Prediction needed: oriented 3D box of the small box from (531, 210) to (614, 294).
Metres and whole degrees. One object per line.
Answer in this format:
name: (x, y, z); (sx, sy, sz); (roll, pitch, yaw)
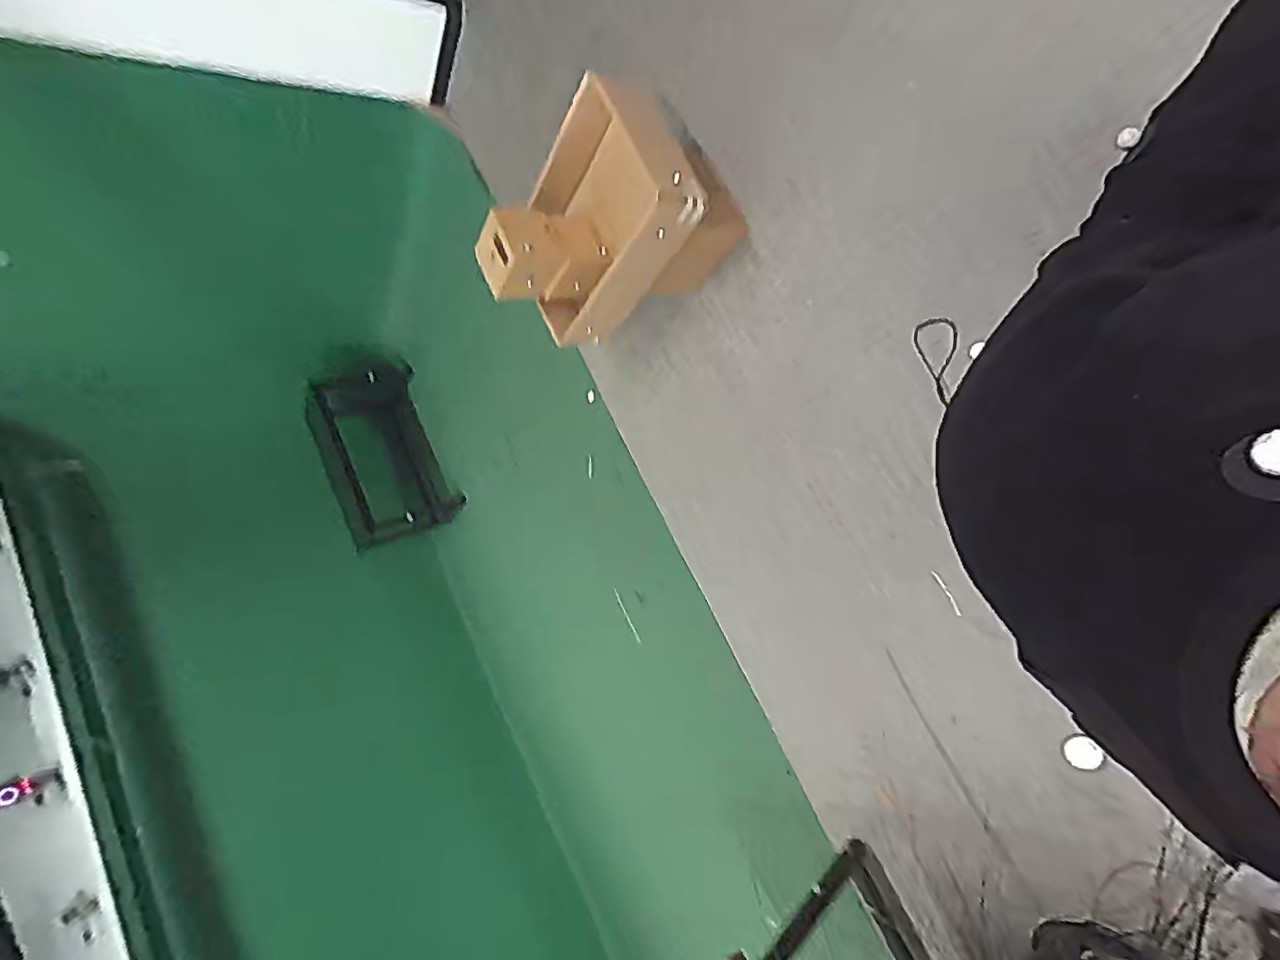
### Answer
small box: (-0.201, -0.693, 1.648); (0.179, 0.176, 0.168); (-35, 77, 51)
